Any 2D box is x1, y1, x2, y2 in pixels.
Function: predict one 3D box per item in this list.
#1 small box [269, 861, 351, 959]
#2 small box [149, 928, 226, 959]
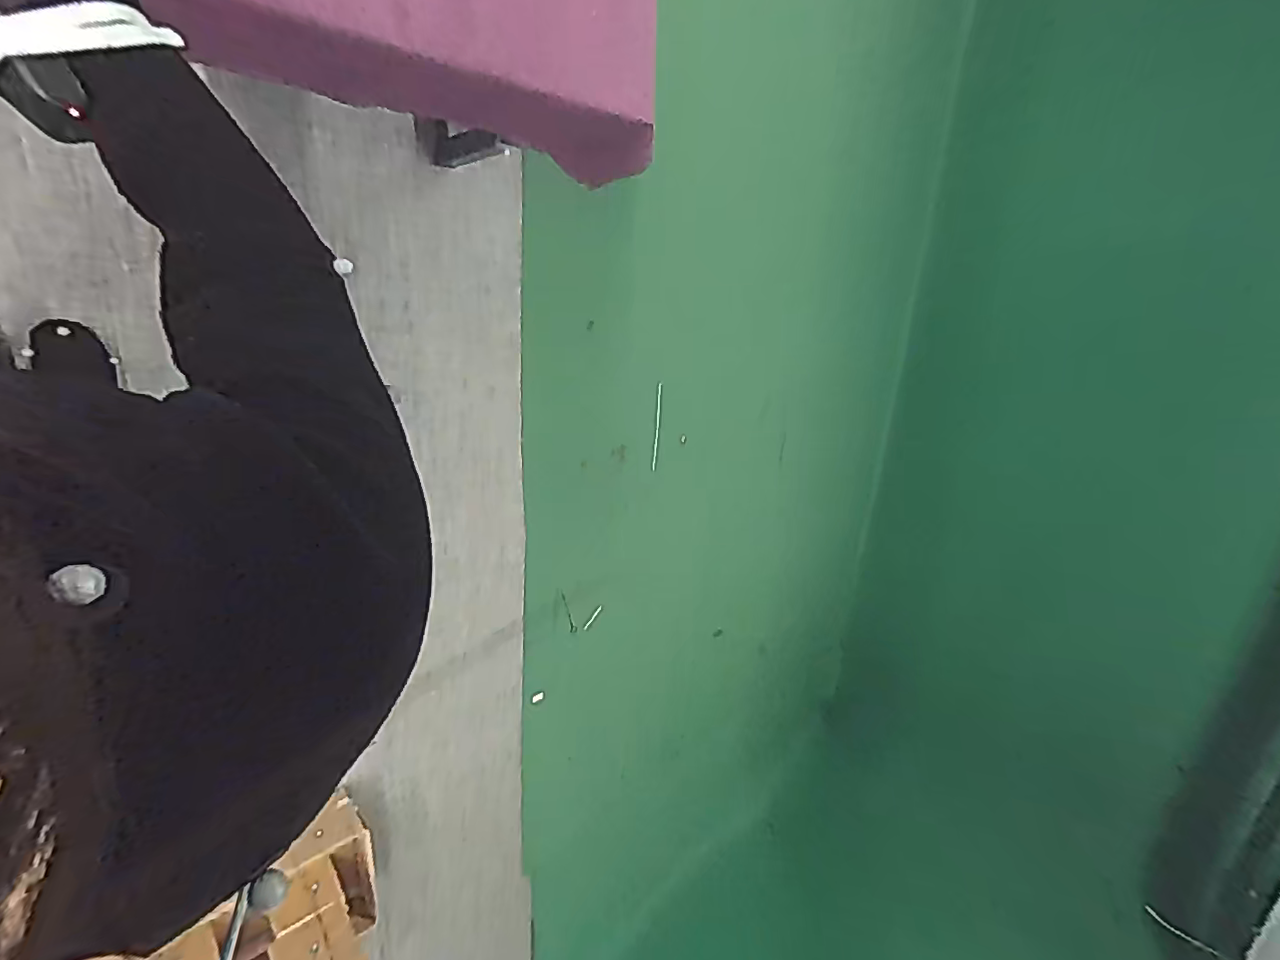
[{"bbox_3d":[-0.943,1.240,1.543,0.168,0.176,0.179,-8,110,-43],"label":"small box"},{"bbox_3d":[-1.137,1.285,1.356,0.168,0.176,0.179,-14,113,-43],"label":"small box"}]
